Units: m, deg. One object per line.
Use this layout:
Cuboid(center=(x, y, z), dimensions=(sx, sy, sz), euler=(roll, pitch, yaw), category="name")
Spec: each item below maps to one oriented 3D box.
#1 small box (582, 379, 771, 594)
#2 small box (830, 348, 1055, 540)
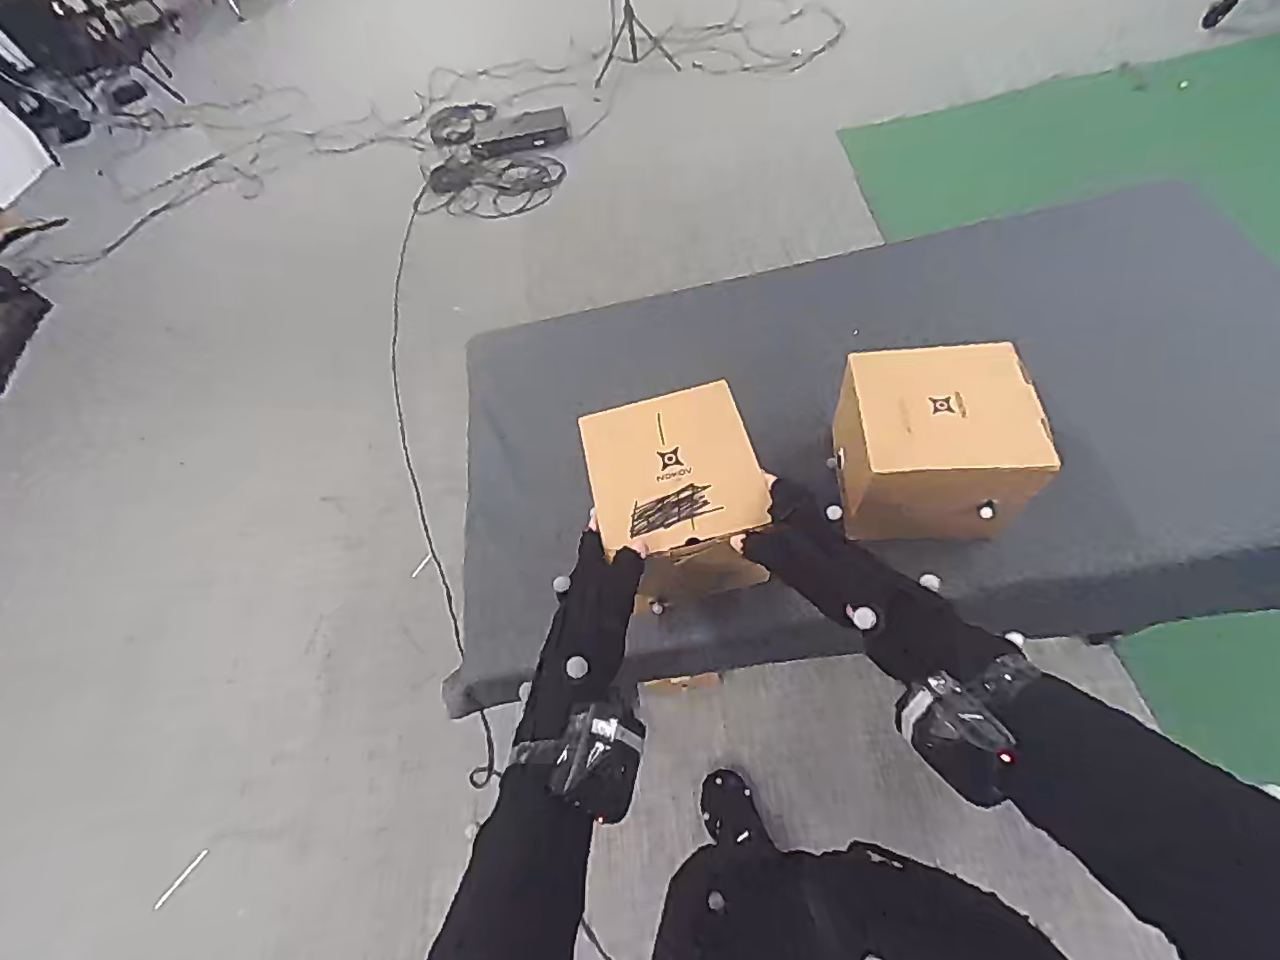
Cuboid(center=(0.042, 0.019, 0.614), dimensions=(0.168, 0.176, 0.179), euler=(-13, 61, 1), category="small box")
Cuboid(center=(0.337, -0.035, 0.646), dimensions=(0.179, 0.176, 0.168), euler=(-2, 60, 10), category="small box")
